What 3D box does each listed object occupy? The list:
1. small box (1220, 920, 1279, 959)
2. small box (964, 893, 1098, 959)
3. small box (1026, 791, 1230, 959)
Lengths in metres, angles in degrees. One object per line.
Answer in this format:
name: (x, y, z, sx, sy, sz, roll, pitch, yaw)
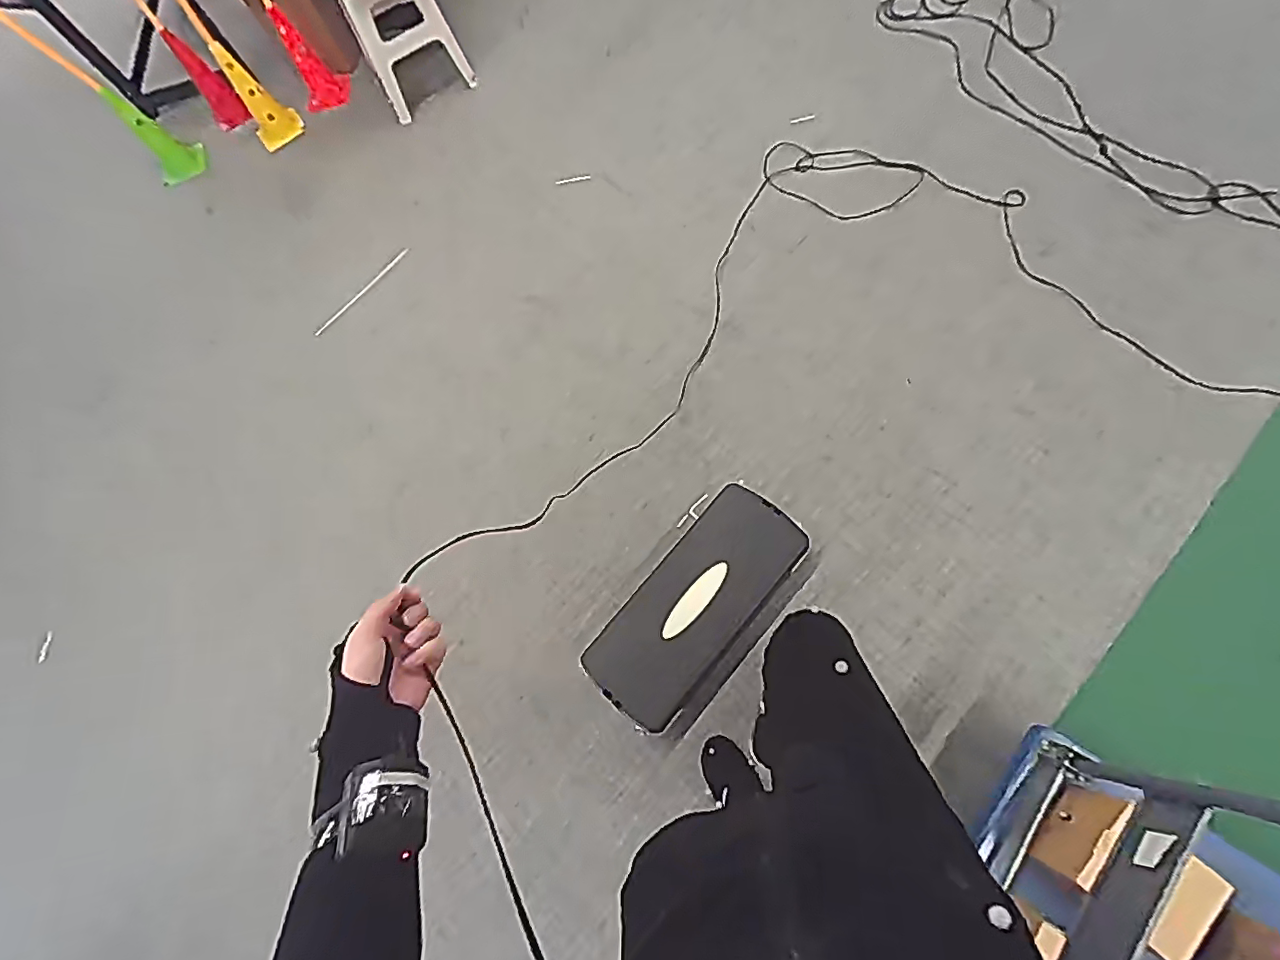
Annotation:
small box: (1.090, 0.859, 0.868, 0.179, 0.176, 0.168, 25, 77, 16)
small box: (0.694, 0.867, 0.929, 0.168, 0.176, 0.179, 30, 78, 18)
small box: (0.853, 0.695, 0.967, 0.179, 0.176, 0.168, 40, 82, 20)
